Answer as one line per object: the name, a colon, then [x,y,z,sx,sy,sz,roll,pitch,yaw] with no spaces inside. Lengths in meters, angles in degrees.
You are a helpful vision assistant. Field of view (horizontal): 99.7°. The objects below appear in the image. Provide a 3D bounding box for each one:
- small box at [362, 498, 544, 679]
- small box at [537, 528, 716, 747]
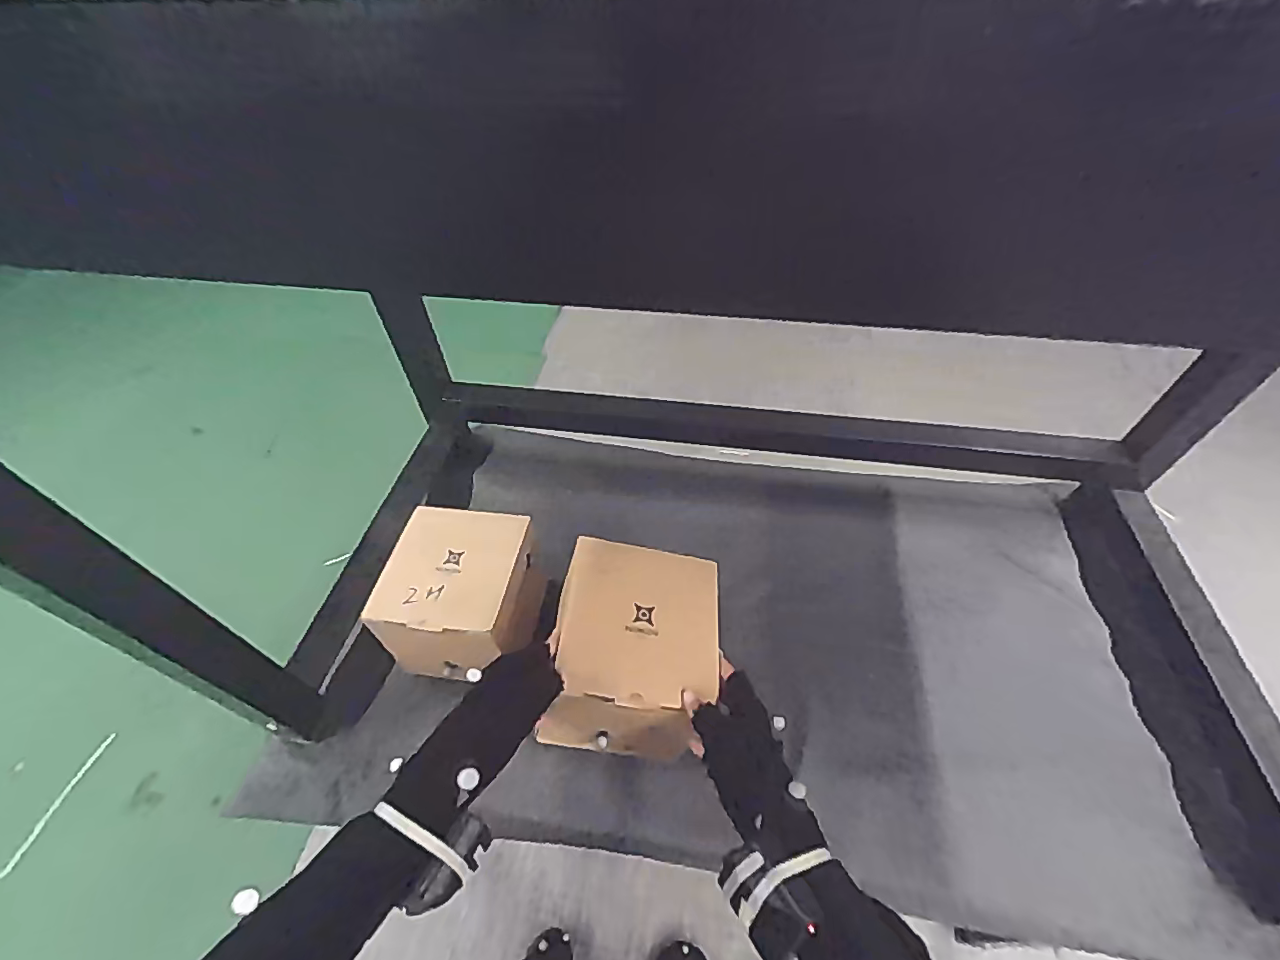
small box: [-0.239,0.150,0.747,0.168,0.176,0.179,5,49,7]
small box: [-0.019,0.185,0.623,0.168,0.176,0.179,12,49,-8]
